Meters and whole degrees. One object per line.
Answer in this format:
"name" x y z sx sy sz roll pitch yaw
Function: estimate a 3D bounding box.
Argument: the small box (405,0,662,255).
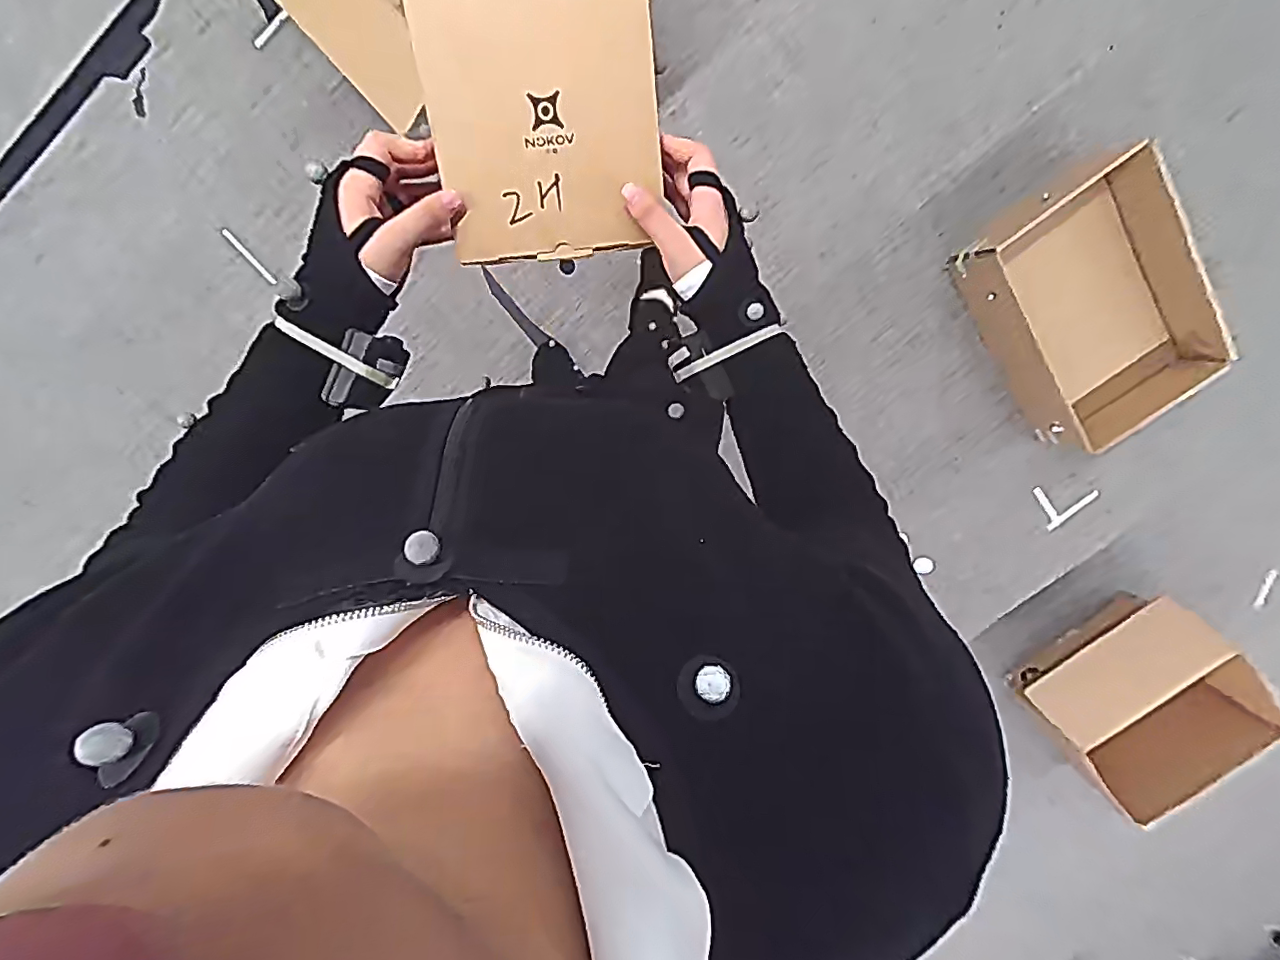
"small box" -0.080 -0.296 0.463 0.168 0.176 0.179 -8 113 -4
